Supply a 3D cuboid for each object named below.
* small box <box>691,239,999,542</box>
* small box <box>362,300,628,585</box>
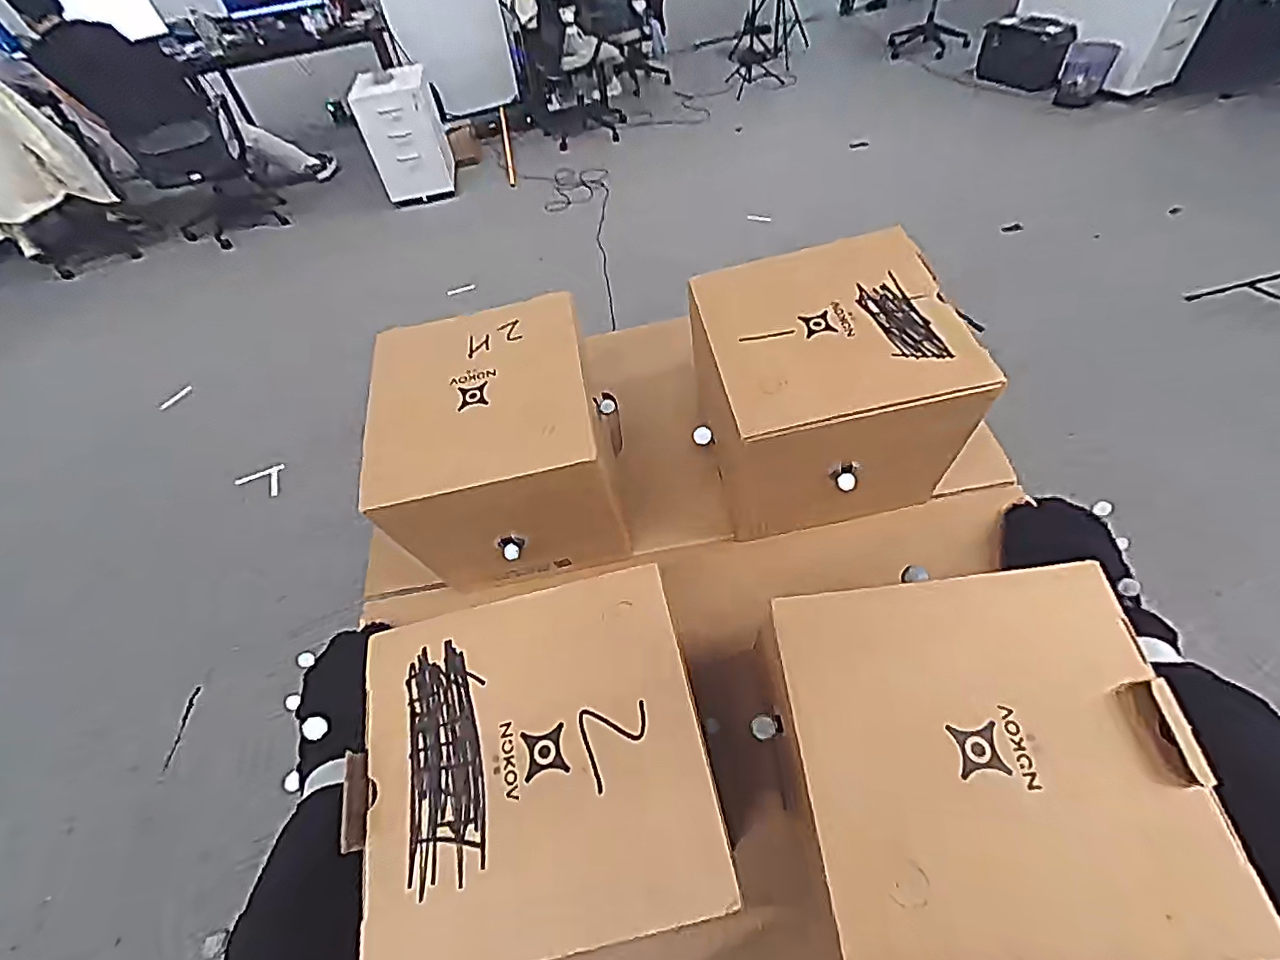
[{"bbox_3d":[0.147,-0.065,0.458,0.179,0.176,0.168,-12,59,3],"label":"small box"},{"bbox_3d":[-0.111,-0.020,0.473,0.168,0.176,0.179,-12,58,1],"label":"small box"}]
